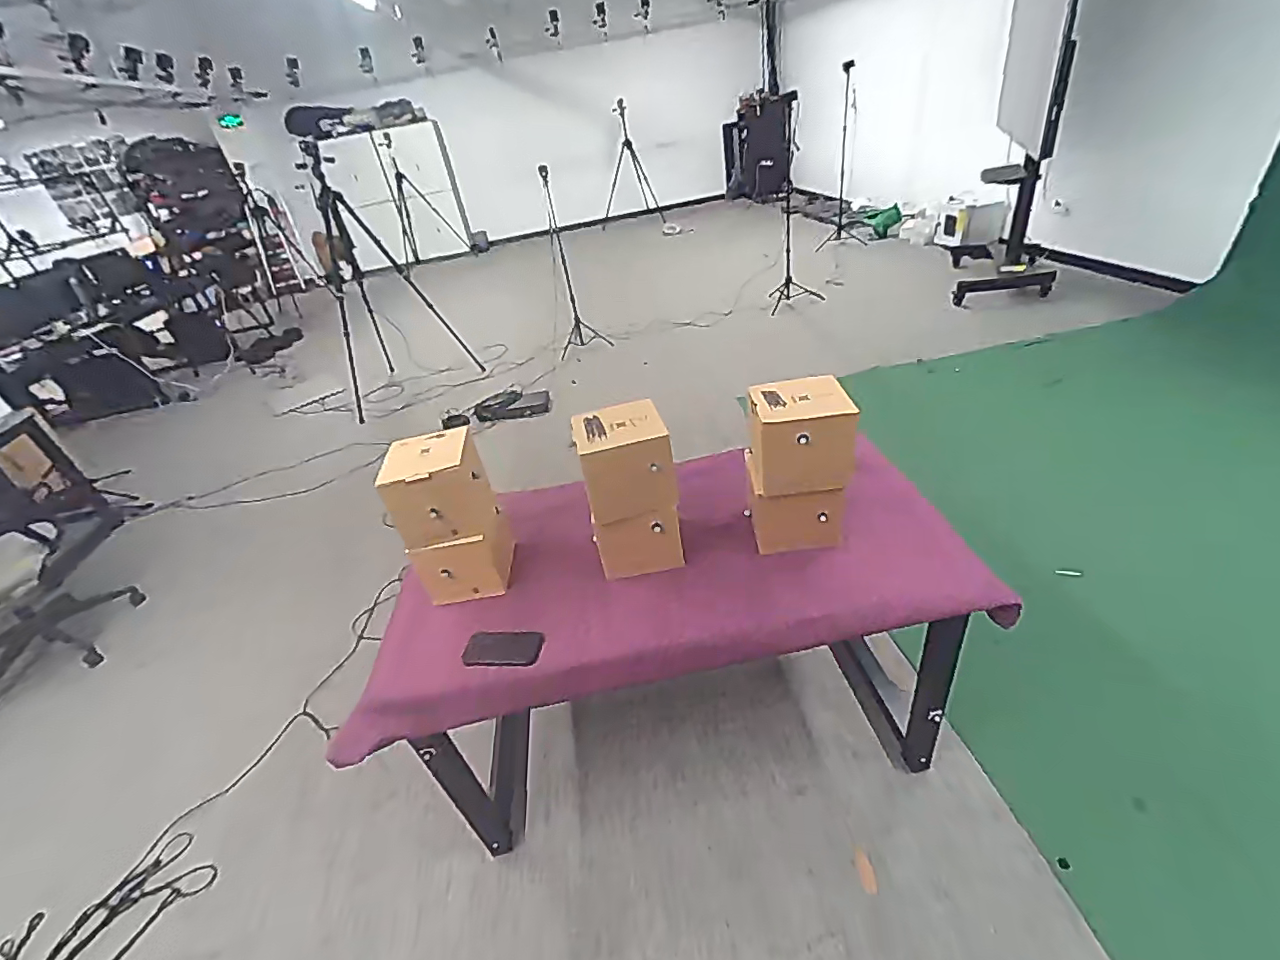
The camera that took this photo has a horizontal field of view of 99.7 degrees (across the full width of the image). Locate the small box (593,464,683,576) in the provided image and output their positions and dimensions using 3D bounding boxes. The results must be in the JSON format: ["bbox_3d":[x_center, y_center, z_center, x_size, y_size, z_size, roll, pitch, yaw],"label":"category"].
[{"bbox_3d":[-0.002,0.089,1.194,0.179,0.176,0.168,-11,34,1],"label":"small box"}]

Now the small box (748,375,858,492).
[{"bbox_3d":[0.318,-0.090,1.074,0.179,0.176,0.168,-7,34,5],"label":"small box"}]

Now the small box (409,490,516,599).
[{"bbox_3d":[-0.388,0.150,1.218,0.168,0.176,0.179,-10,34,1],"label":"small box"}]

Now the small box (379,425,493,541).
[{"bbox_3d":[-0.415,0.011,1.133,0.168,0.176,0.179,-12,35,-3],"label":"small box"}]

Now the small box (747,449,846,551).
[{"bbox_3d":[0.334,0.036,1.178,0.179,0.176,0.168,-8,34,7],"label":"small box"}]
